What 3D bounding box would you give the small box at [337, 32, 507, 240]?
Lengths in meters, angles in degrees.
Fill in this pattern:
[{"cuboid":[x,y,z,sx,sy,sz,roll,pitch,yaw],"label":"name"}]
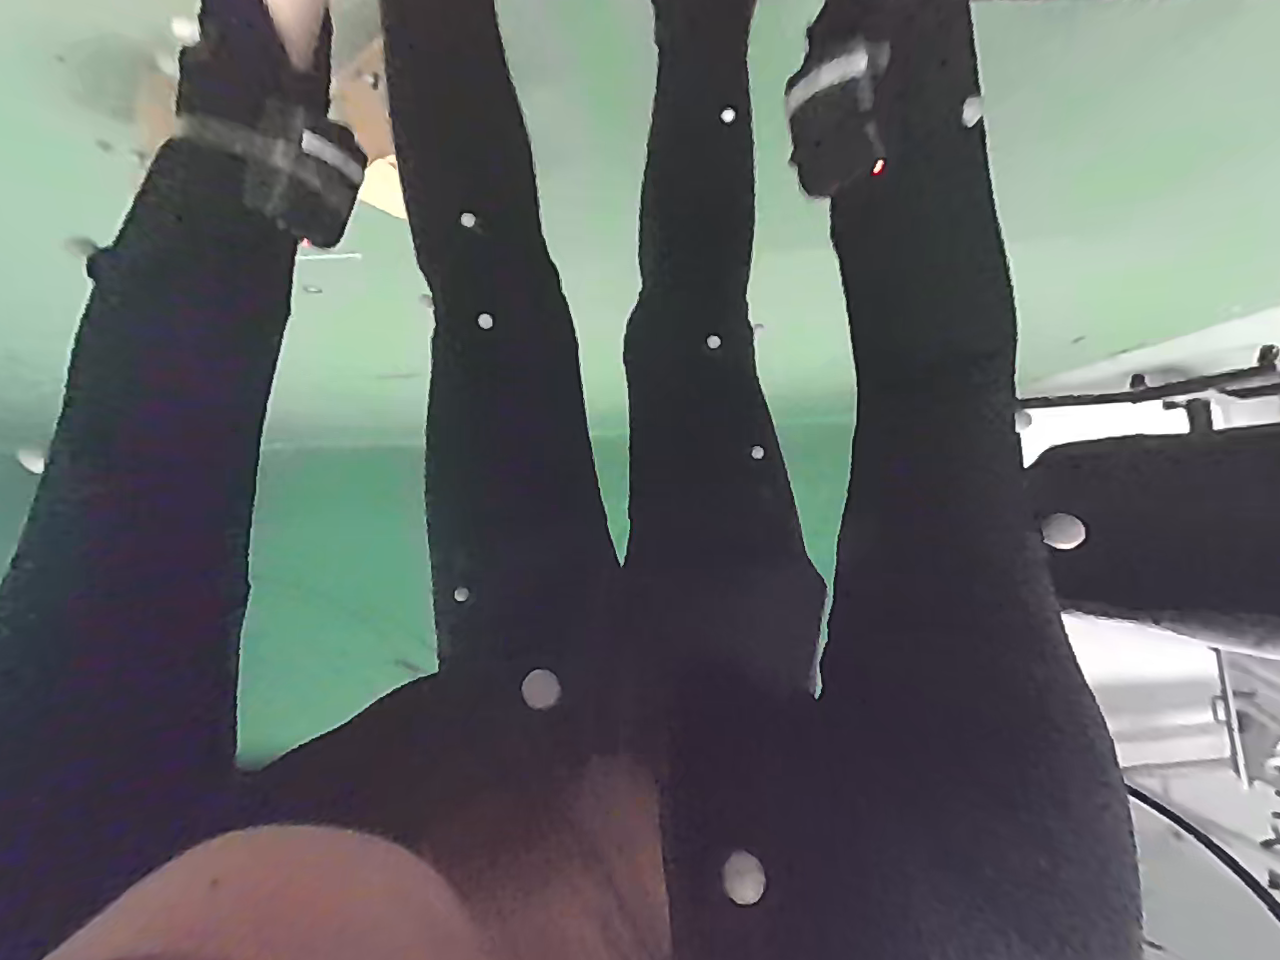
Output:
[{"cuboid":[-0.317,-0.489,0.794,0.168,0.176,0.179,-6,175,32],"label":"small box"}]
